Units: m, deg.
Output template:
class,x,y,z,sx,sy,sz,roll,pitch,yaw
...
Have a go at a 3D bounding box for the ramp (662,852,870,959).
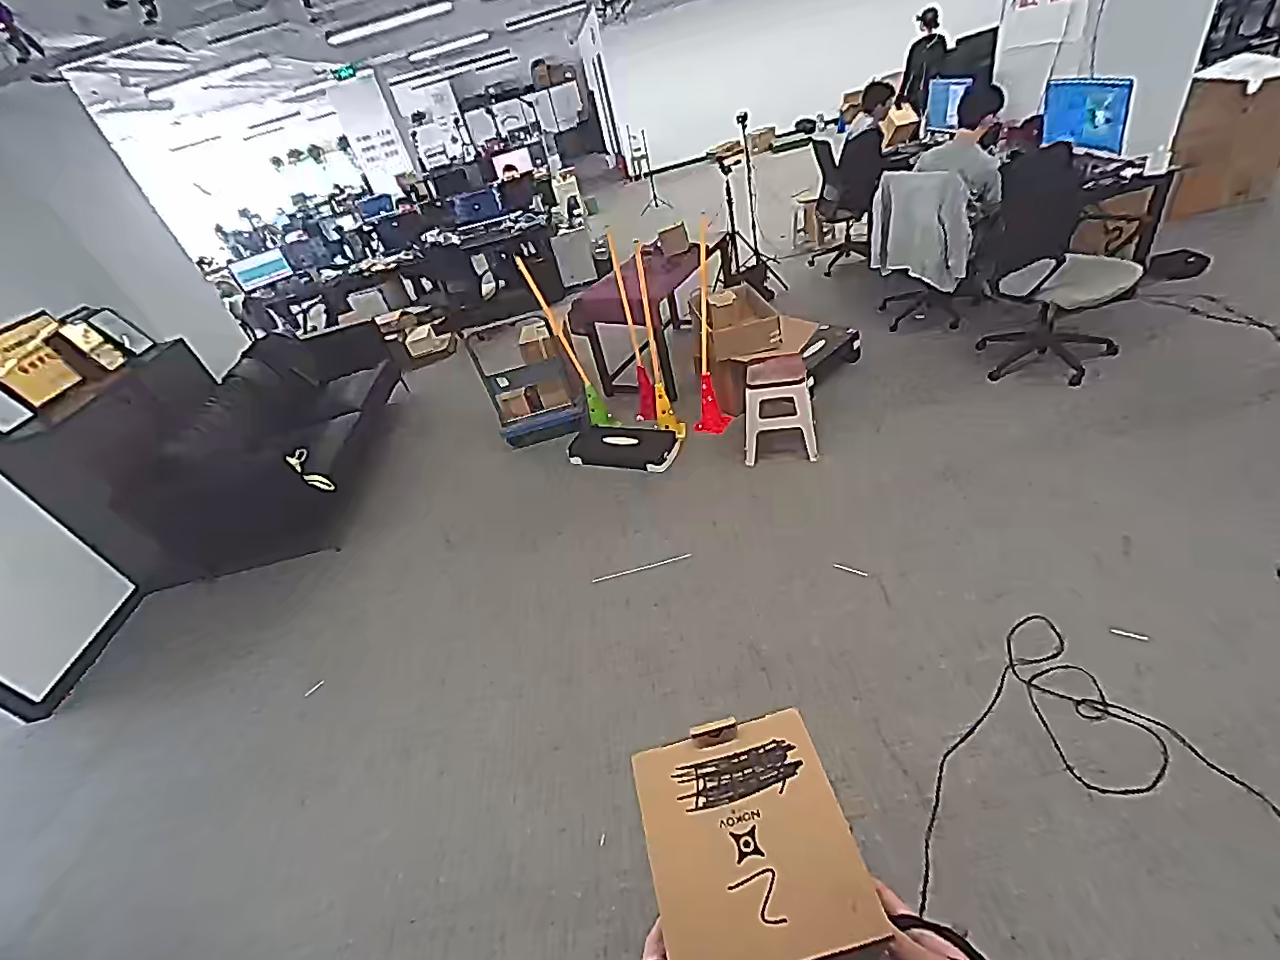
class,x,y,z,sx,sy,sz,roll,pitch,yaw
ramp,0.334,1.312,1.066,0.509,0.206,0.991,-17,36,1
